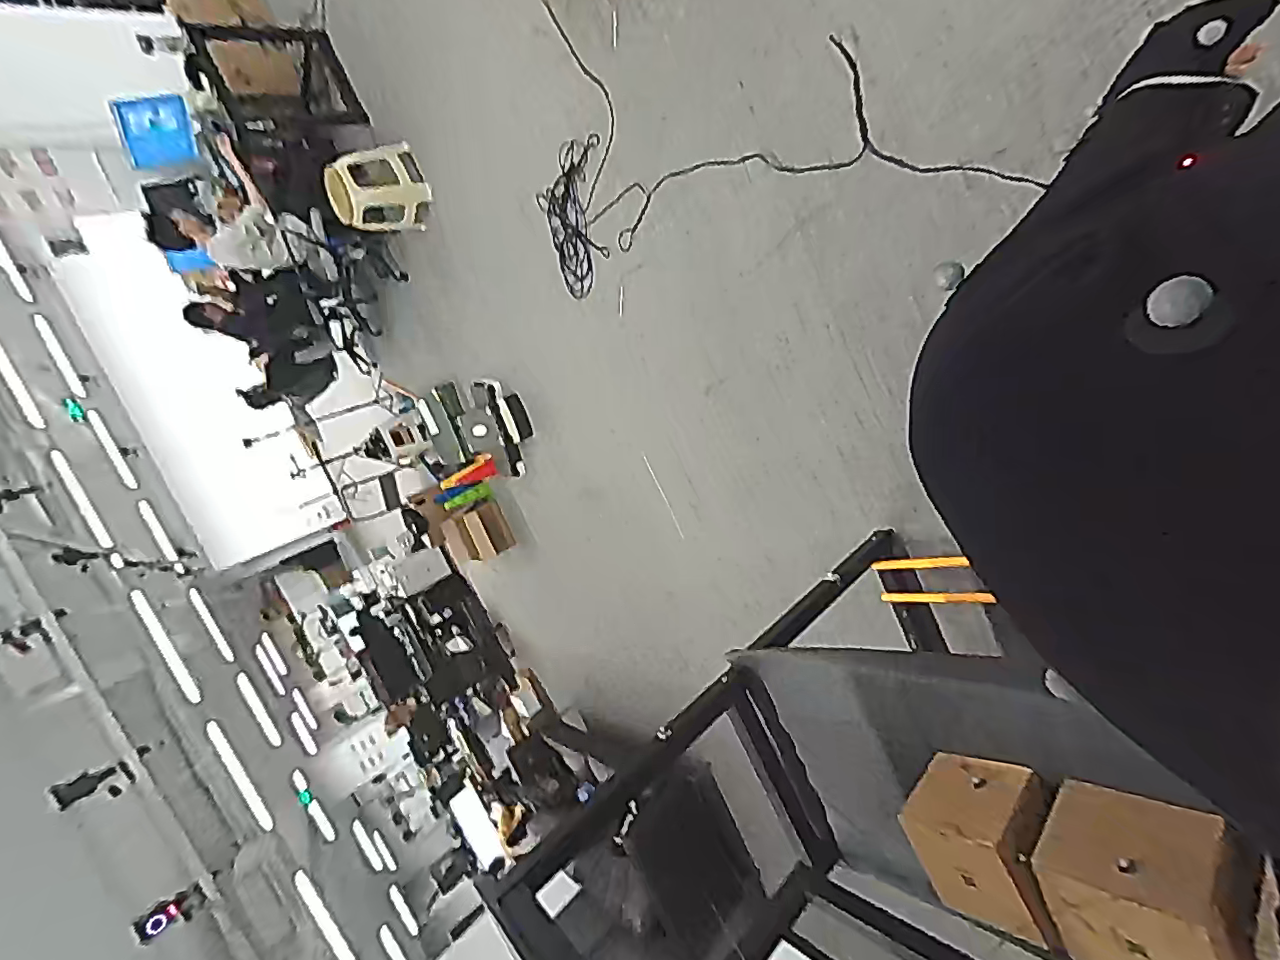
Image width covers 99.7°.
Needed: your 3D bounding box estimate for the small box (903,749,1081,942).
[{"bbox_3d":[0.585,0.587,0.896,0.168,0.176,0.179,-28,90,56],"label":"small box"}]
